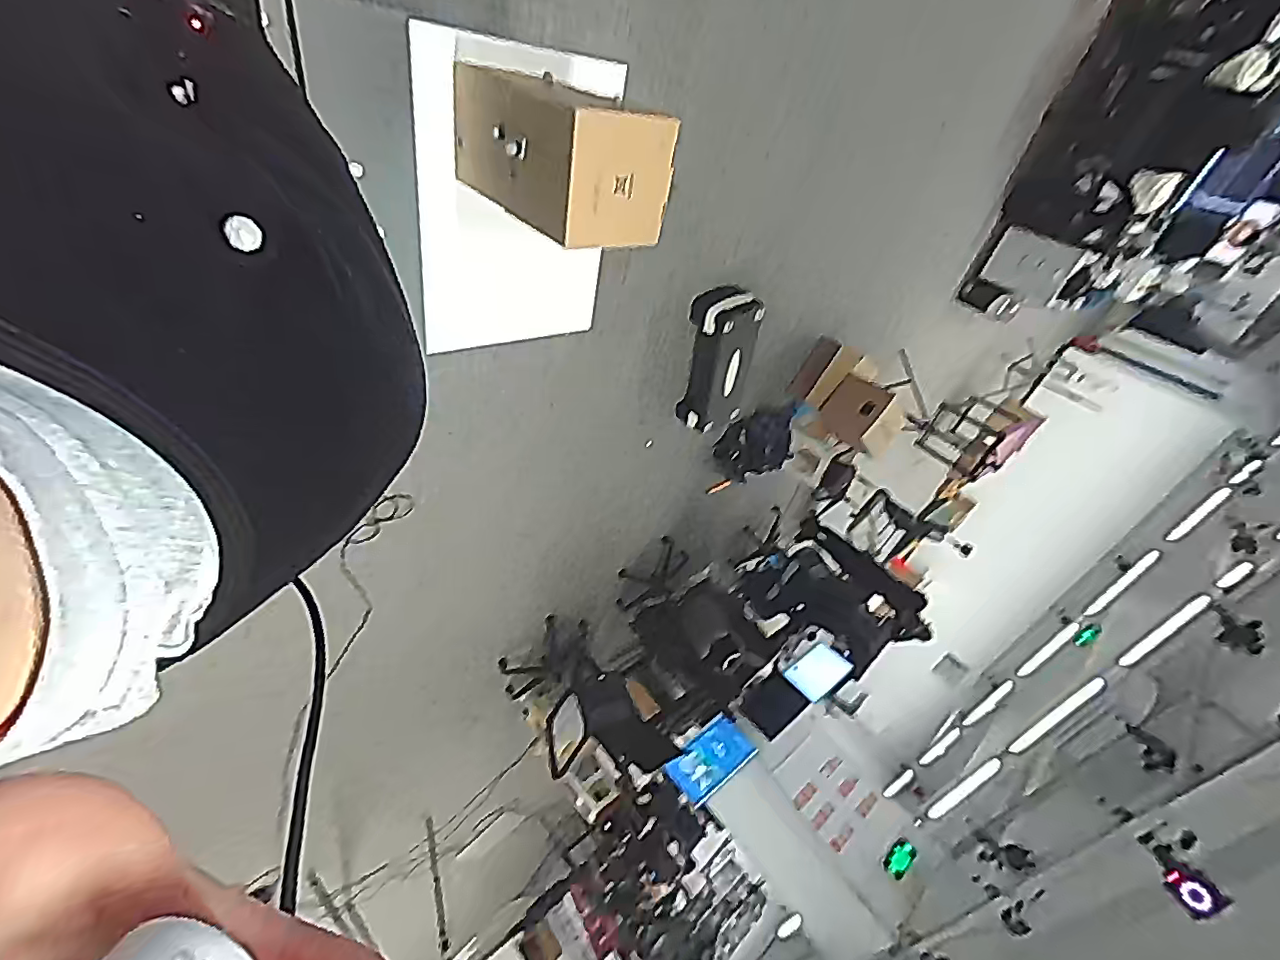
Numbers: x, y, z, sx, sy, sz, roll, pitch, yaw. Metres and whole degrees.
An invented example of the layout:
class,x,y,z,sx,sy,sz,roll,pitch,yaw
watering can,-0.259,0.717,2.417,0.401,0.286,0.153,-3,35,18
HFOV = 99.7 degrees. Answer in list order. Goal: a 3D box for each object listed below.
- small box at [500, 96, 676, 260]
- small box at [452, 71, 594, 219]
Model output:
class,x,y,z,sx,sy,sz,roll,pitch,yaw
small box,-0.079,-0.432,0.774,0.179,0.176,0.168,-22,139,-35
small box,-0.178,-0.528,0.861,0.179,0.176,0.168,-22,140,-37
